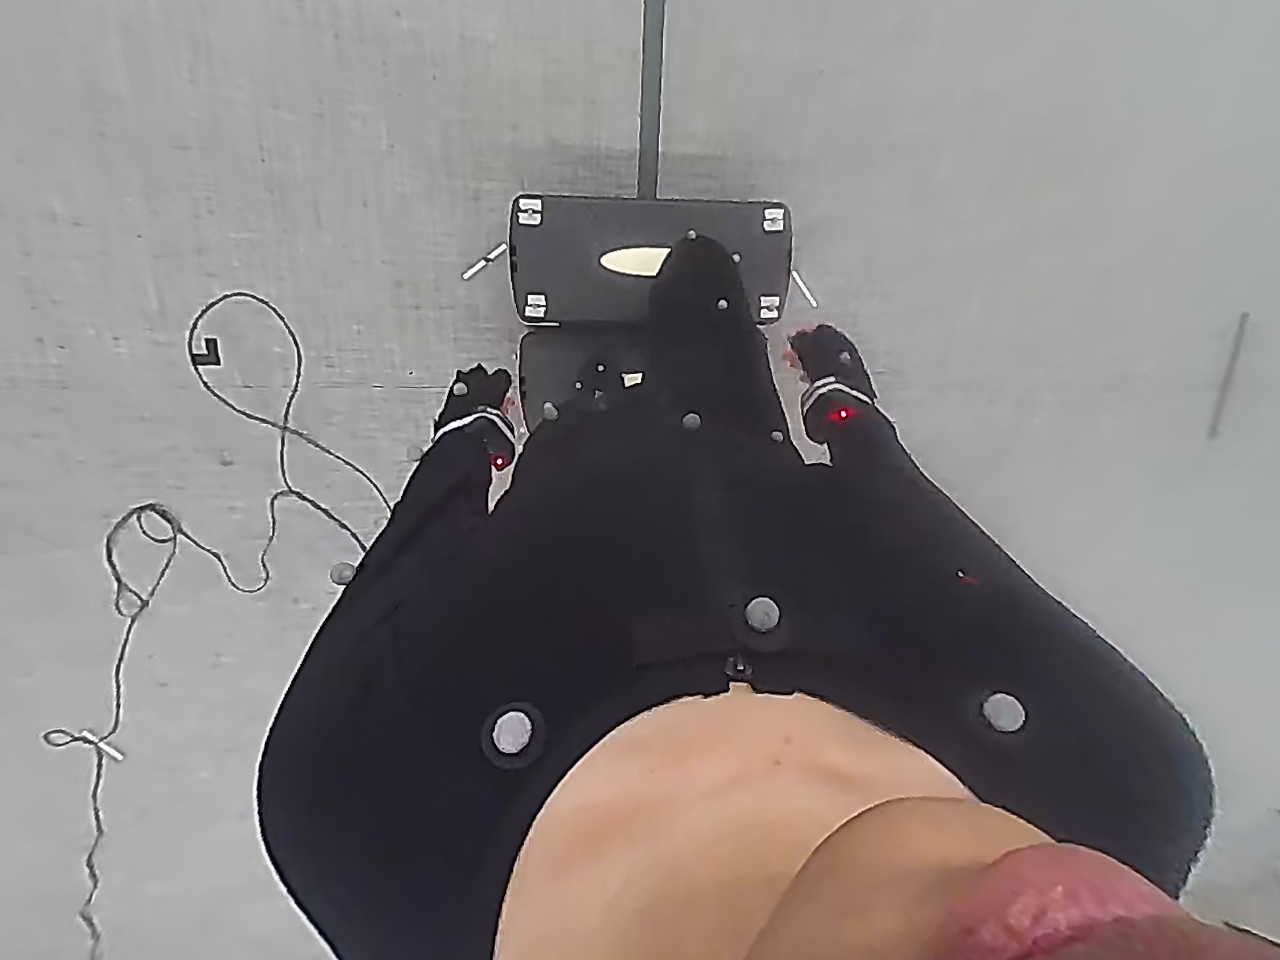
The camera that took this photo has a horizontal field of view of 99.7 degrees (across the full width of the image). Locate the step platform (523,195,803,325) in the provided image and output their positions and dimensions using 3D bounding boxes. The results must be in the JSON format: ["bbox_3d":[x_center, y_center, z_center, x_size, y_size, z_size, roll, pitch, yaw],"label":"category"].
[{"bbox_3d":[0.055,-0.539,1.353,0.684,0.204,0.286,-2,105,-6],"label":"step platform"}]
